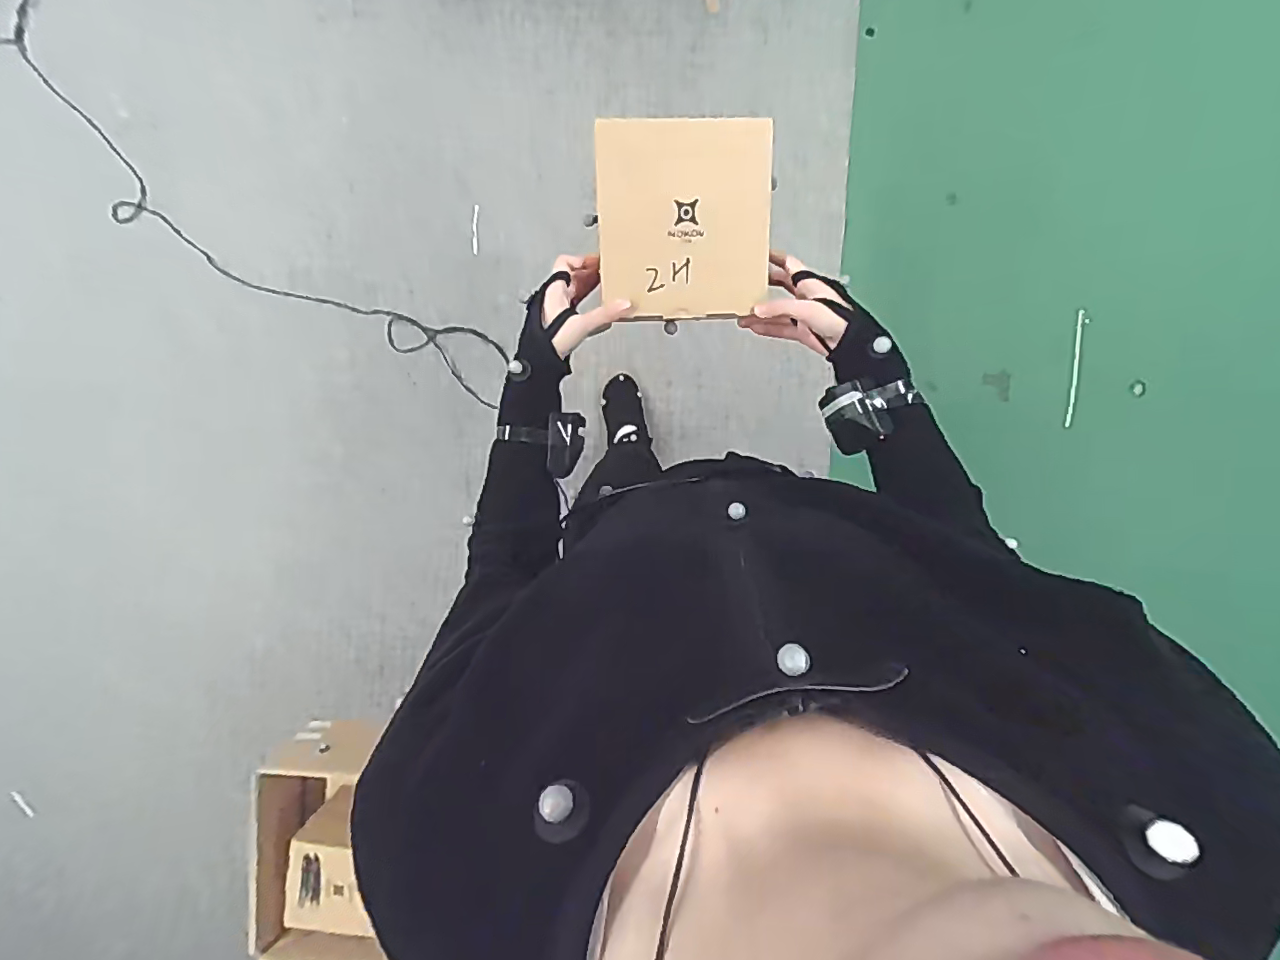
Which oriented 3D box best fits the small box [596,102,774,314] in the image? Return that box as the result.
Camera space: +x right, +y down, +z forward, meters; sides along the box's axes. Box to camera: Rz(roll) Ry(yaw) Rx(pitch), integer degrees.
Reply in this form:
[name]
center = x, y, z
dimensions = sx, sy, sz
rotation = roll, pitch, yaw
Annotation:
[small box]
center = 0.036, -0.274, 0.583
dimensions = 0.168, 0.176, 0.179
rotation = -2, 106, -3
